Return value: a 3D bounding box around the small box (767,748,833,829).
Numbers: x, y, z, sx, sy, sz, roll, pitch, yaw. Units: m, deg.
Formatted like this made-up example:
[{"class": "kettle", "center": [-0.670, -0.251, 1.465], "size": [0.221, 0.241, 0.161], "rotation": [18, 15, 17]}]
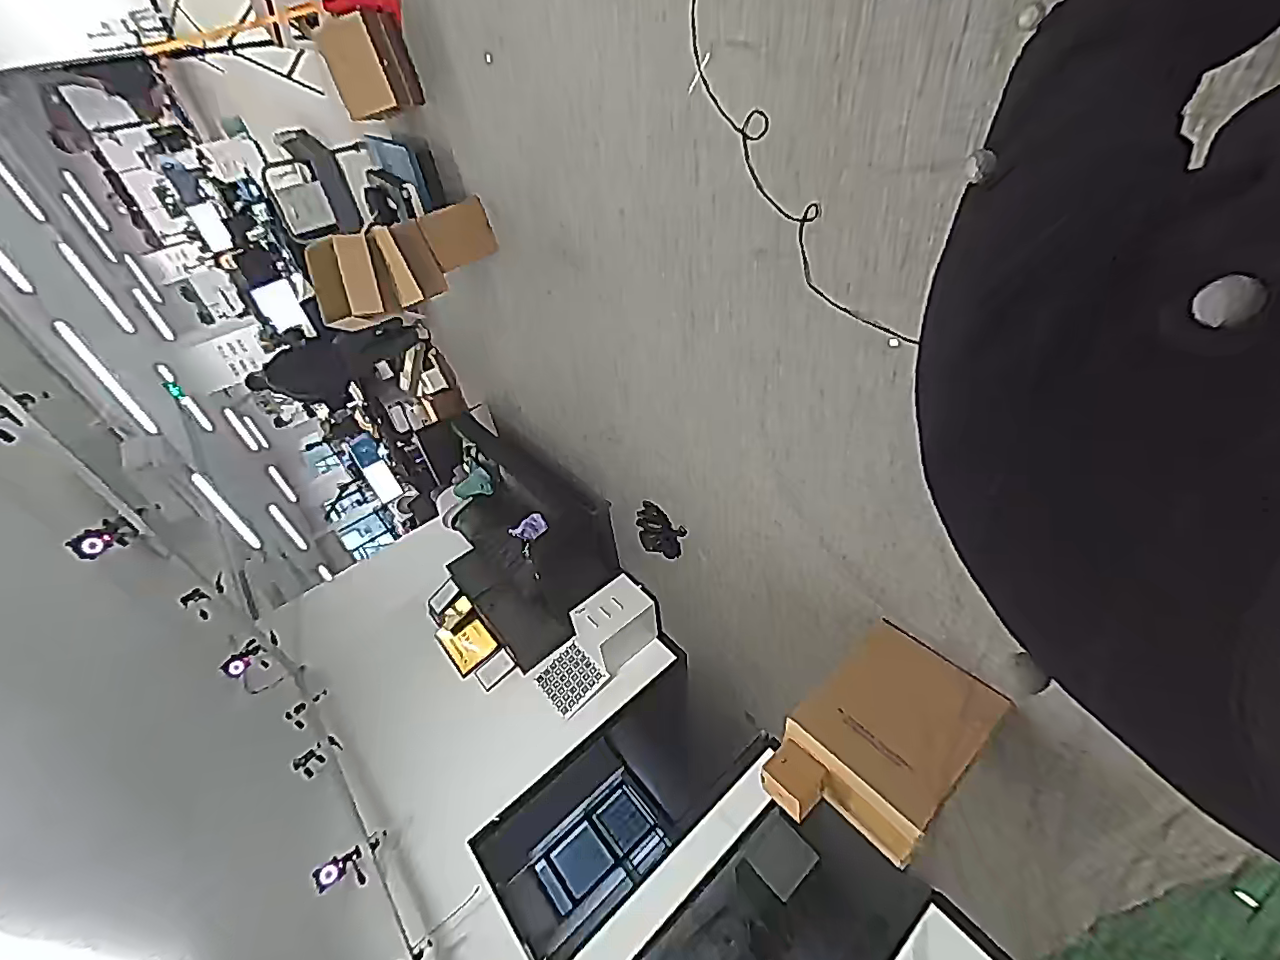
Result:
[{"class": "small box", "center": [0.600, 1.146, 2.030], "size": [0.179, 0.176, 0.168], "rotation": [27, 139, 46]}]
